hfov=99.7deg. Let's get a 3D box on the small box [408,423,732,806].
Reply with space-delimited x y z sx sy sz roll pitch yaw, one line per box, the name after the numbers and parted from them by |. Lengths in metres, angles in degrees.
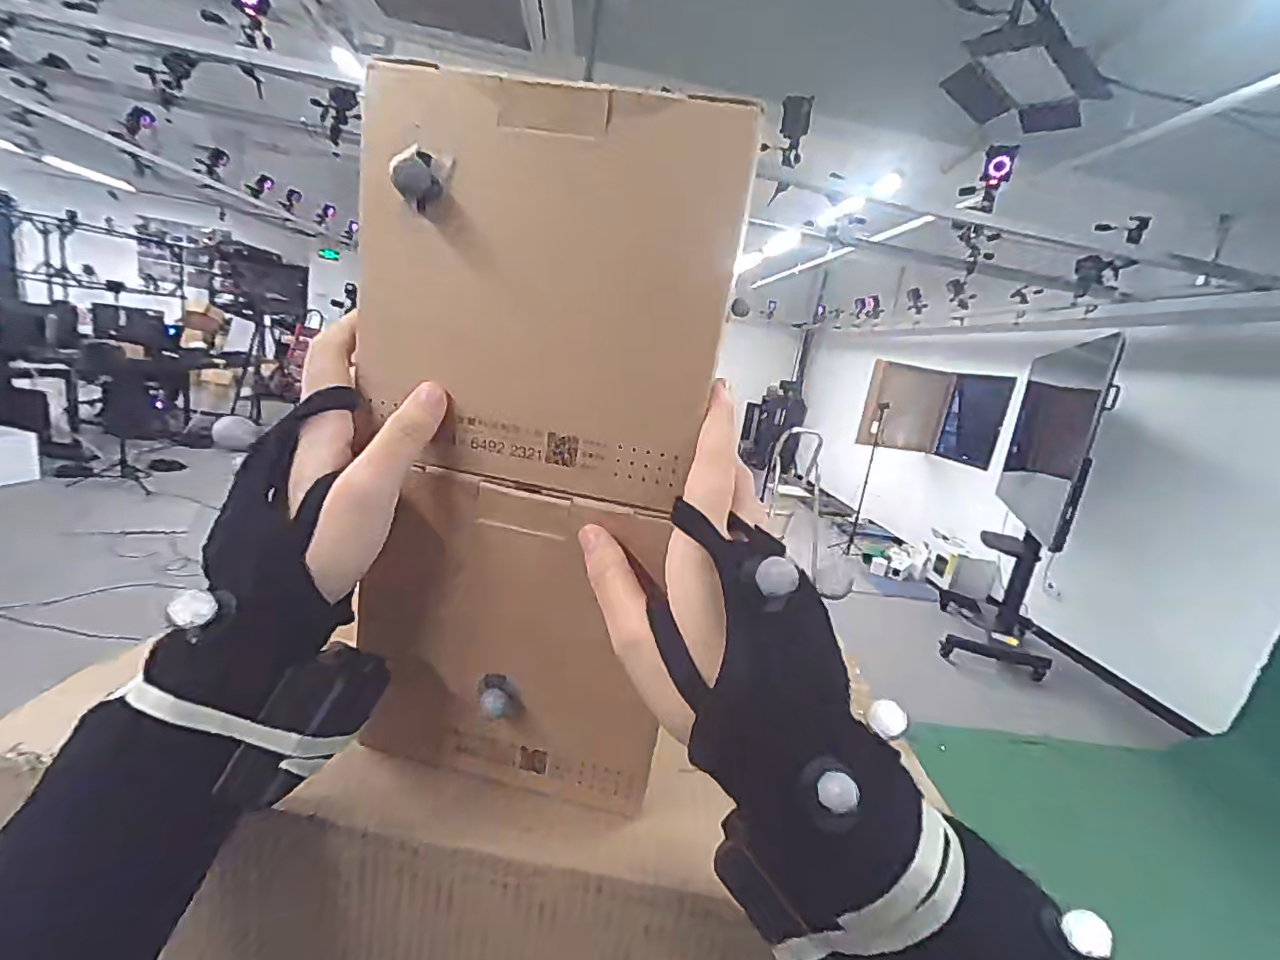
-0.038 0.068 0.362 0.168 0.176 0.179 11 14 5 | small box
